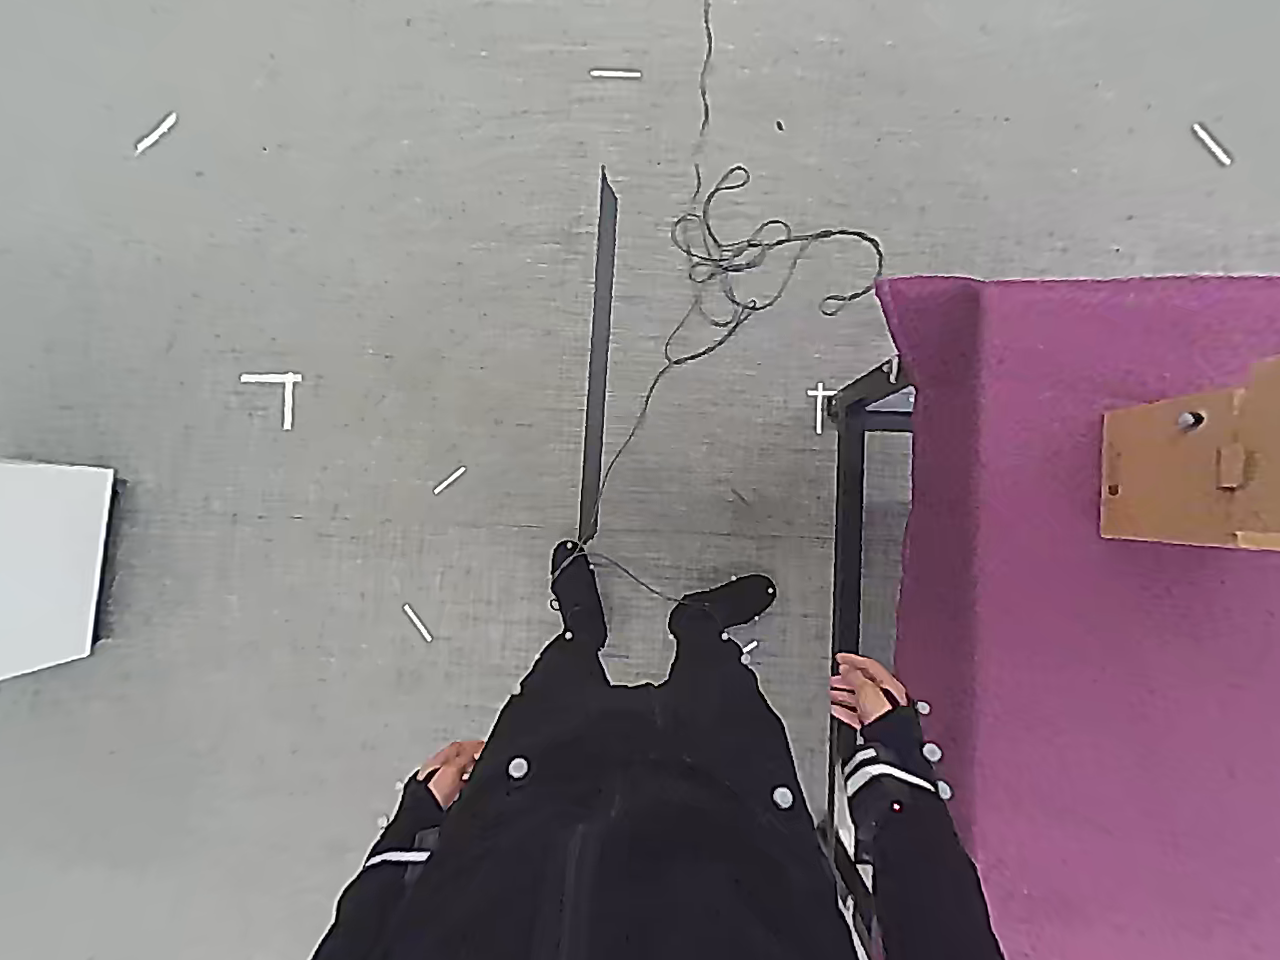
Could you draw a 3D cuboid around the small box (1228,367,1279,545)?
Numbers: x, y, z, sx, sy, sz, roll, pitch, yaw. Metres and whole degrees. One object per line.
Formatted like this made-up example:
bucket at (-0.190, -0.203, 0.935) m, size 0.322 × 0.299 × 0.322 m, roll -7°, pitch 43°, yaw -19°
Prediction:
small box at (0.681, -0.019, 0.467) m, size 0.168 × 0.176 × 0.179 m, roll 10°, pitch 88°, yaw 3°
